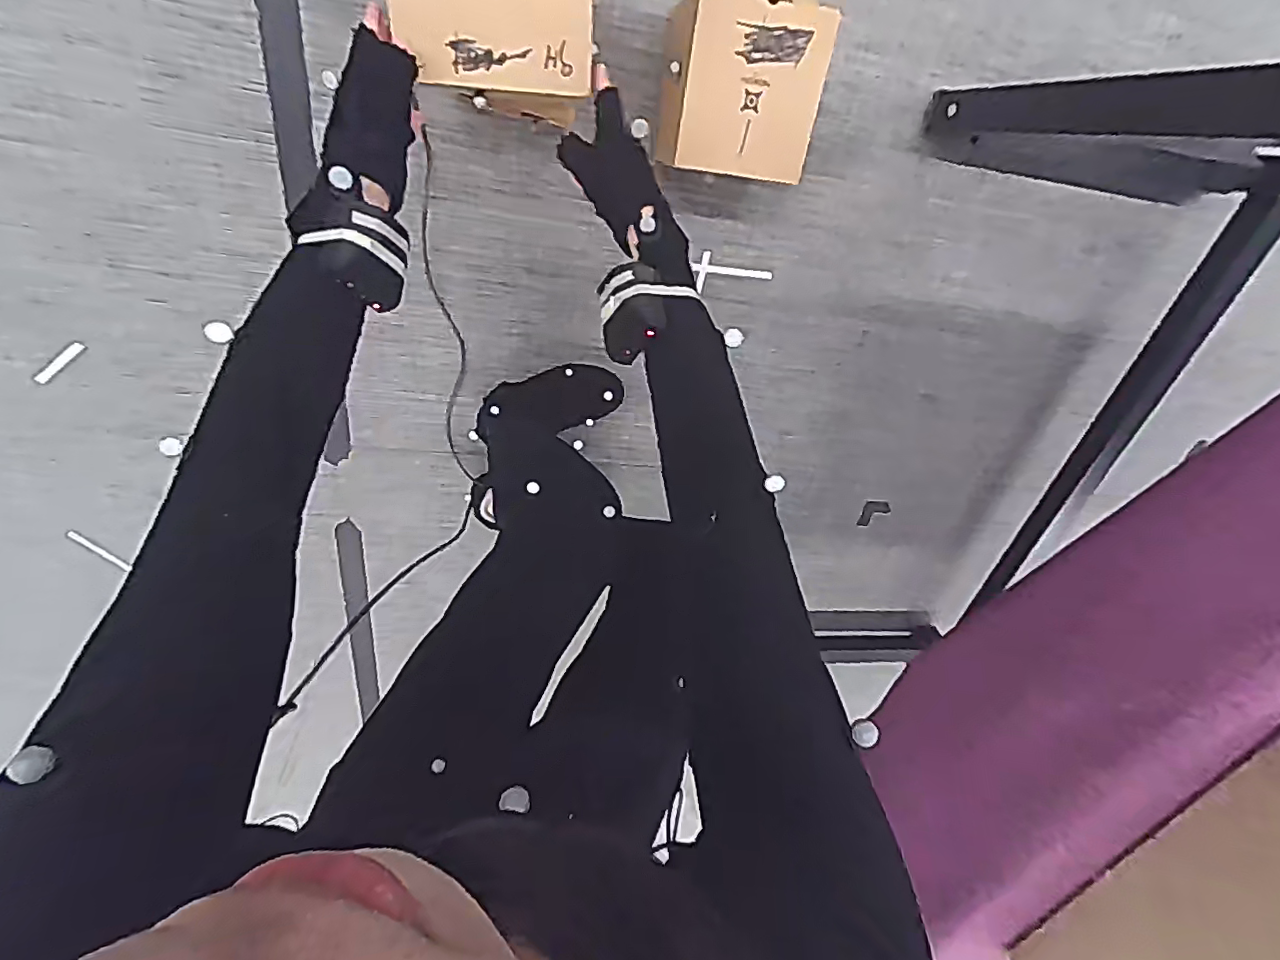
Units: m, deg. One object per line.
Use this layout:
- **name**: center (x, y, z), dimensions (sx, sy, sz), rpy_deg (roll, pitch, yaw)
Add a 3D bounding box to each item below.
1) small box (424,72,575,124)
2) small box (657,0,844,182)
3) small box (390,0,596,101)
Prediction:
- **small box**: center (-0.146, -0.536, 0.628), dimensions (0.168, 0.176, 0.179), rpy_deg (8, 120, -15)
- **small box**: center (0.124, -0.499, 0.691), dimensions (0.168, 0.176, 0.179), rpy_deg (3, 123, -11)
- **small box**: center (-0.127, -0.458, 0.484), dimensions (0.168, 0.176, 0.179), rpy_deg (-1, 123, -10)
